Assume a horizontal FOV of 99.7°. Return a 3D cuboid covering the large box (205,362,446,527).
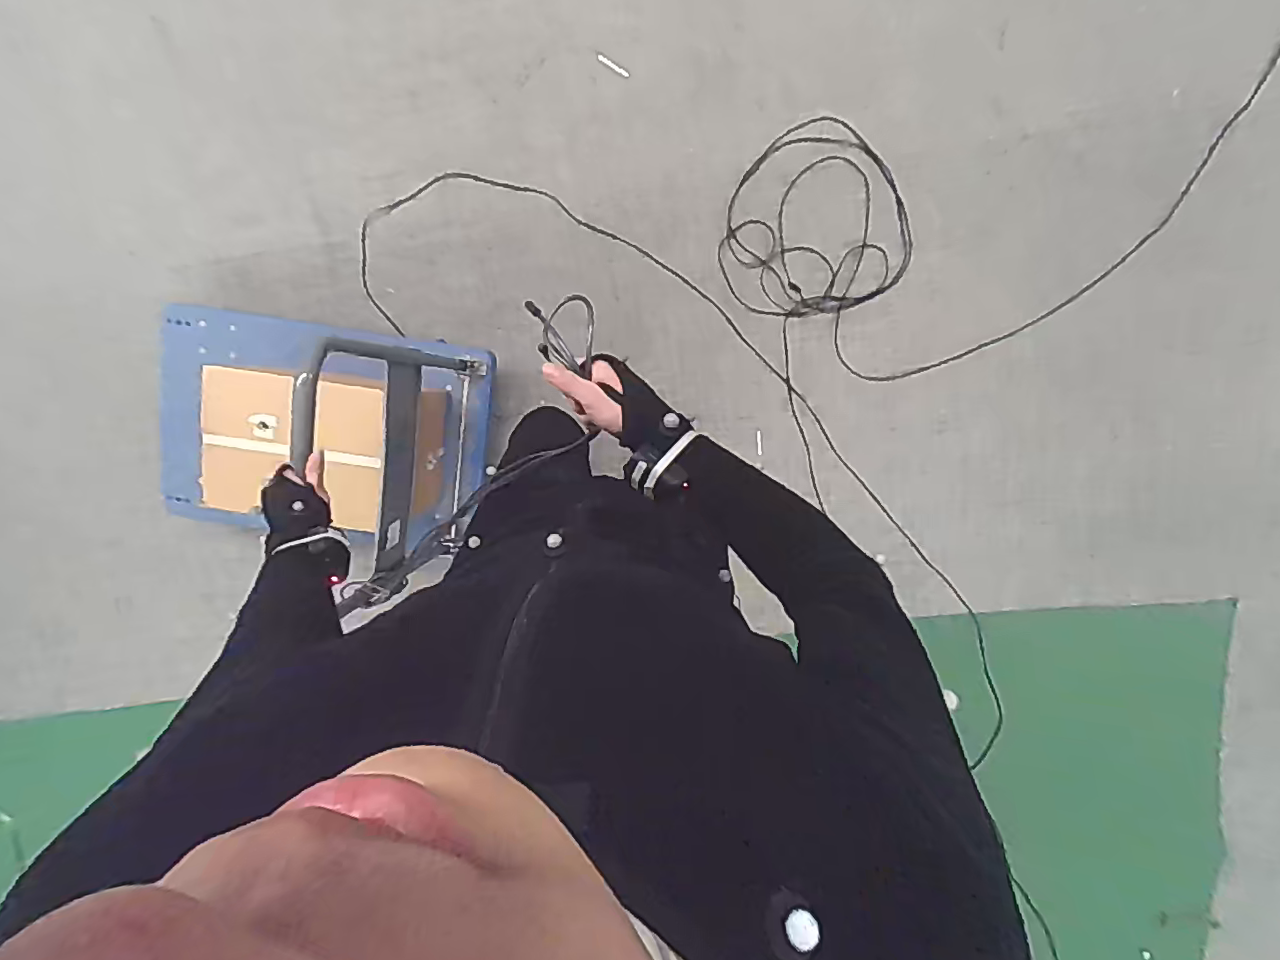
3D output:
[{"bbox_3d":[-0.722,-0.099,1.296,0.408,0.320,0.320,9,100,1],"label":"large box"}]
